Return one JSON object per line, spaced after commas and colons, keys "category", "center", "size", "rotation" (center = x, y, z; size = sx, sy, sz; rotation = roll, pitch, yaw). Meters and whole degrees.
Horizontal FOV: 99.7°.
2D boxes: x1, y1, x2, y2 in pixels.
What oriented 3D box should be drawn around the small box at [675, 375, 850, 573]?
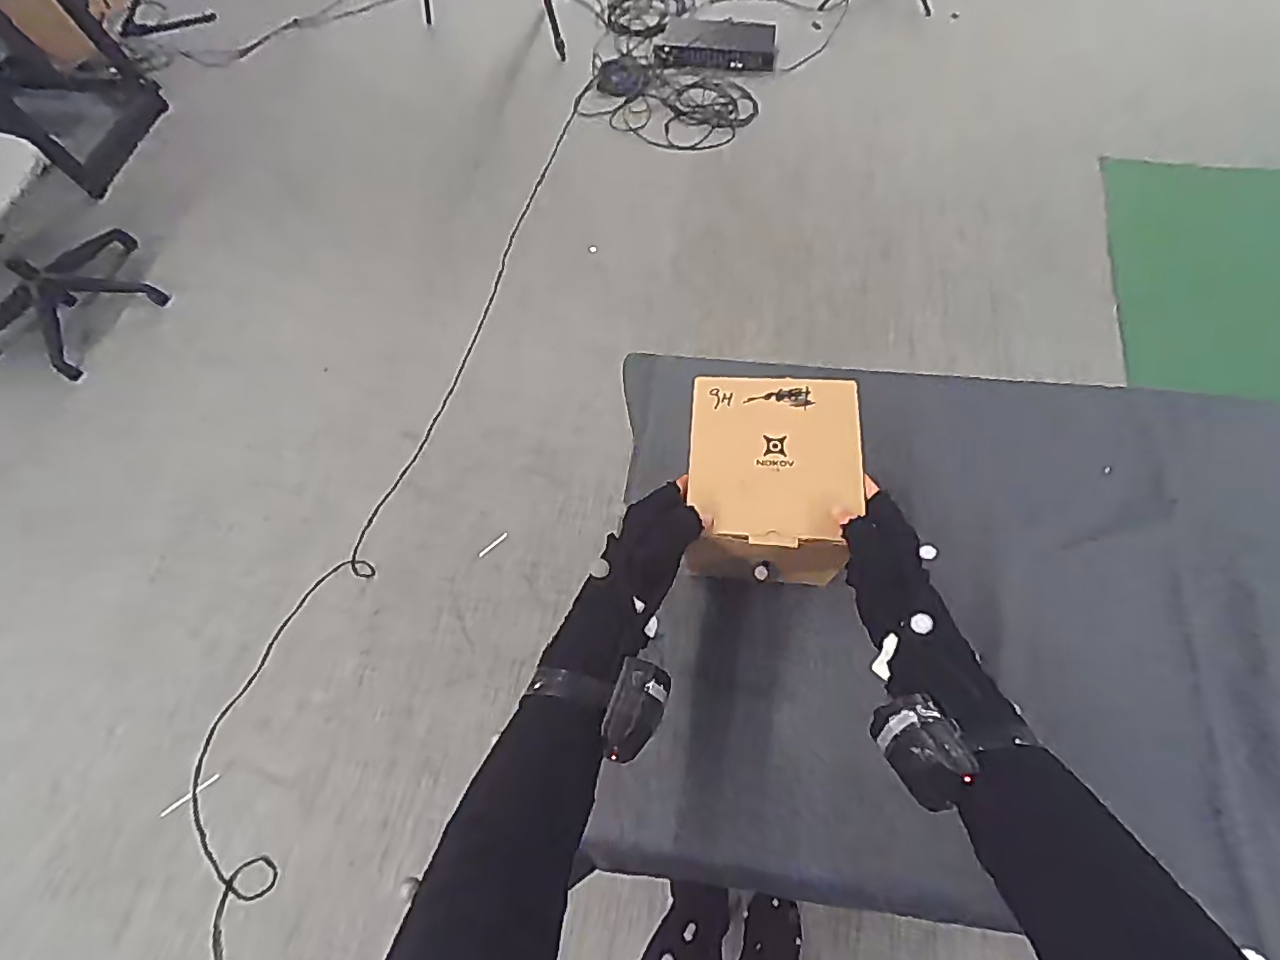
{"category": "small box", "center": [0.133, 0.001, 0.610], "size": [0.168, 0.176, 0.179], "rotation": [3, 69, 8]}
